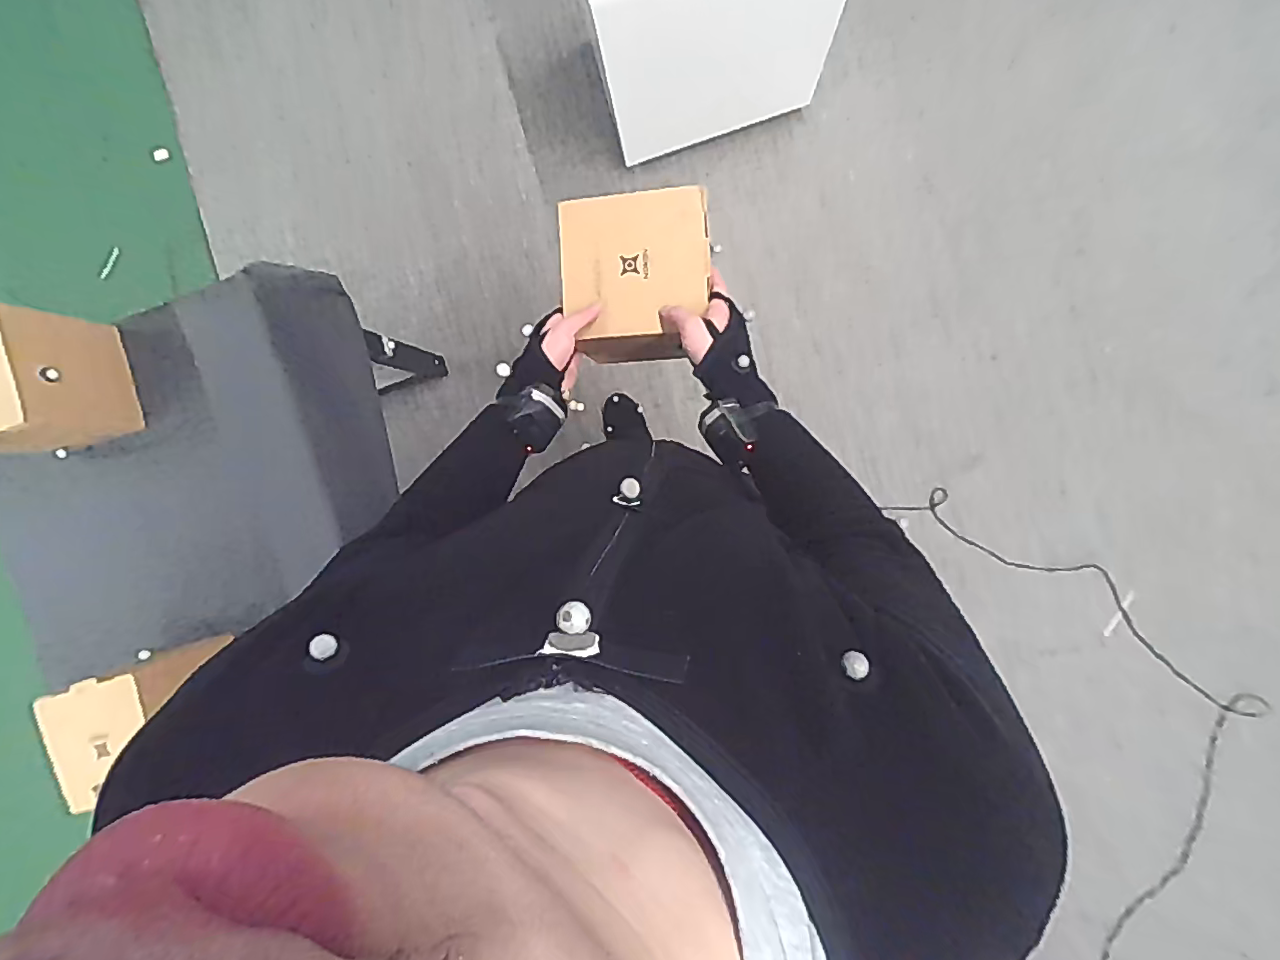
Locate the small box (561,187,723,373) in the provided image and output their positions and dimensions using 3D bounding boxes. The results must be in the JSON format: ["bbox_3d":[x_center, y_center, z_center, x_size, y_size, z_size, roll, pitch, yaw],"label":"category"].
[{"bbox_3d":[0.011,-0.238,0.686,0.179,0.176,0.168,-5,90,9],"label":"small box"}]
